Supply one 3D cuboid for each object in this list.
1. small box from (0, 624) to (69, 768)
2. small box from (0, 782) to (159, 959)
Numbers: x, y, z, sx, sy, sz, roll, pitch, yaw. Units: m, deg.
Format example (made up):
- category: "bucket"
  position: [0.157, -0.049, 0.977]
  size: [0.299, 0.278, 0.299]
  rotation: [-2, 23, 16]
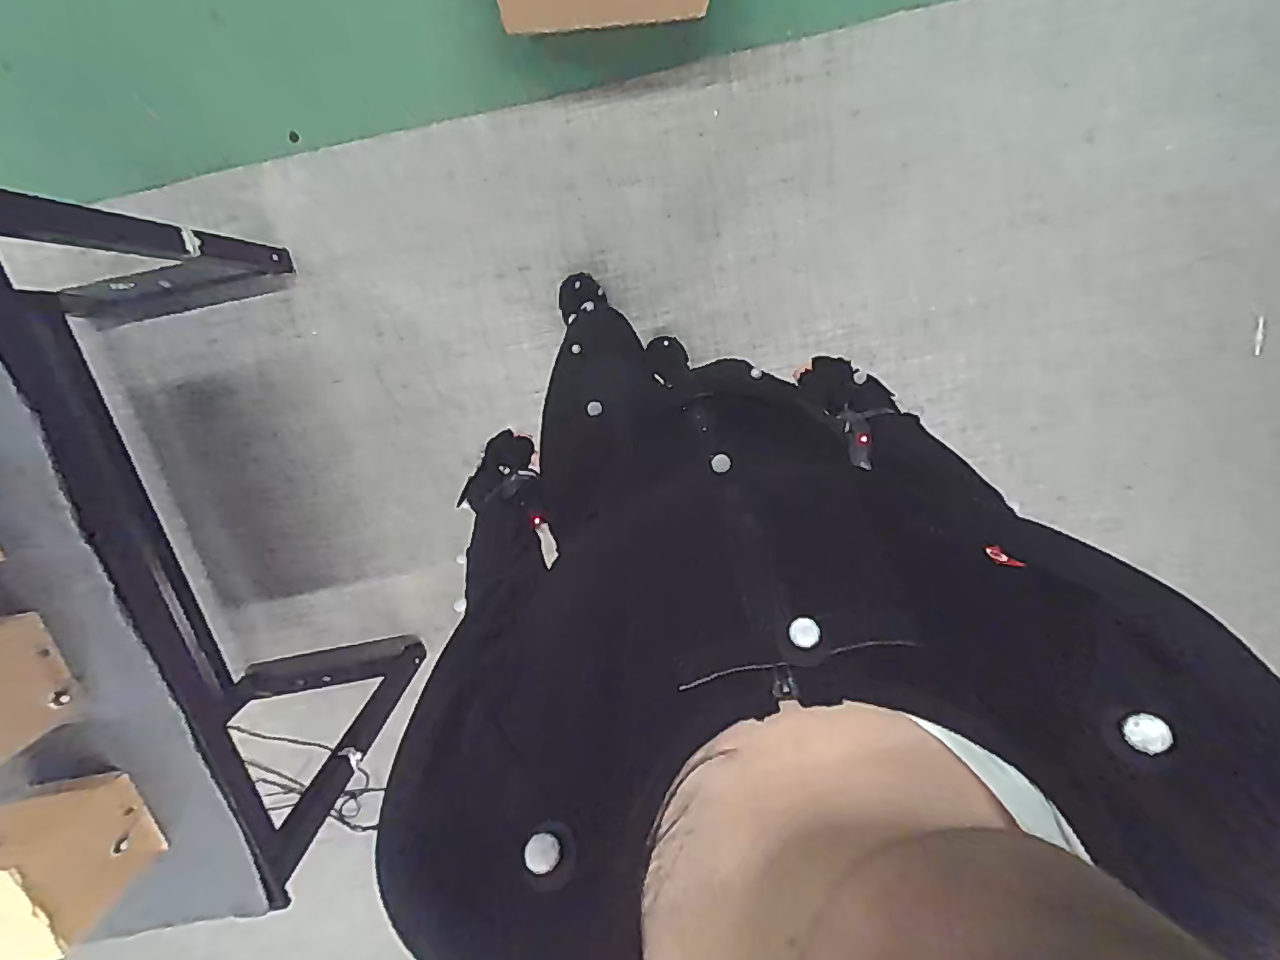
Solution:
- category: "small box"
  position: [-0.940, 0.312, 0.724]
  size: [0.179, 0.176, 0.168]
  rotation: [-10, 105, 3]
- category: "small box"
  position: [-0.887, 0.585, 0.800]
  size: [0.179, 0.176, 0.168]
  rotation: [-12, 105, 3]
